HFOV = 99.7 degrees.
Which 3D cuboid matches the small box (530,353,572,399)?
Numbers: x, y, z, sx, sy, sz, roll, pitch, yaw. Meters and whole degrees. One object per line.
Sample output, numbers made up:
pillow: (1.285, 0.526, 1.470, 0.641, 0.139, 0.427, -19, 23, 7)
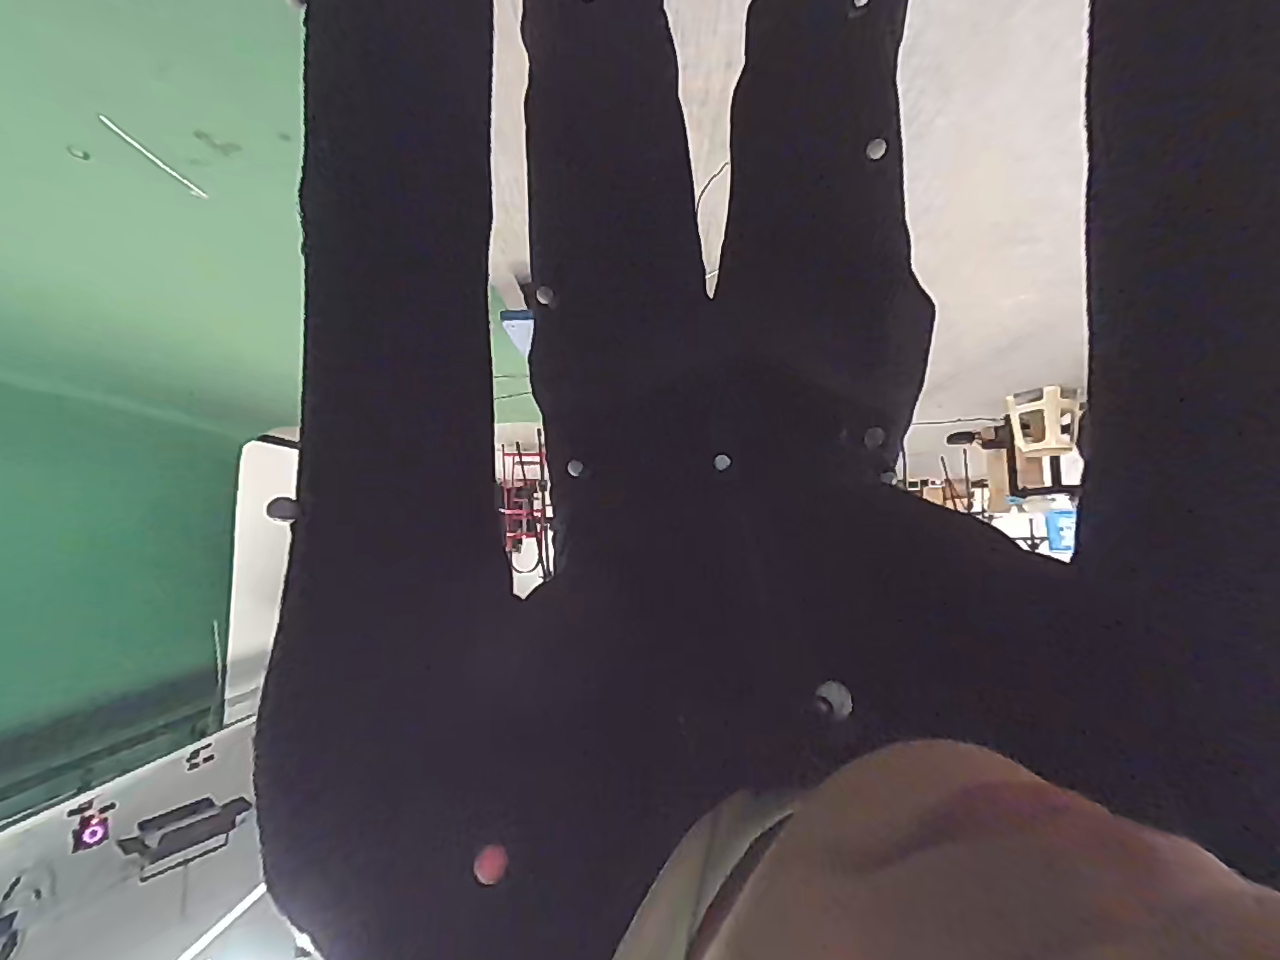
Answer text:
small box: (-0.401, -0.470, 2.456, 0.168, 0.176, 0.179, -2, 174, 2)
